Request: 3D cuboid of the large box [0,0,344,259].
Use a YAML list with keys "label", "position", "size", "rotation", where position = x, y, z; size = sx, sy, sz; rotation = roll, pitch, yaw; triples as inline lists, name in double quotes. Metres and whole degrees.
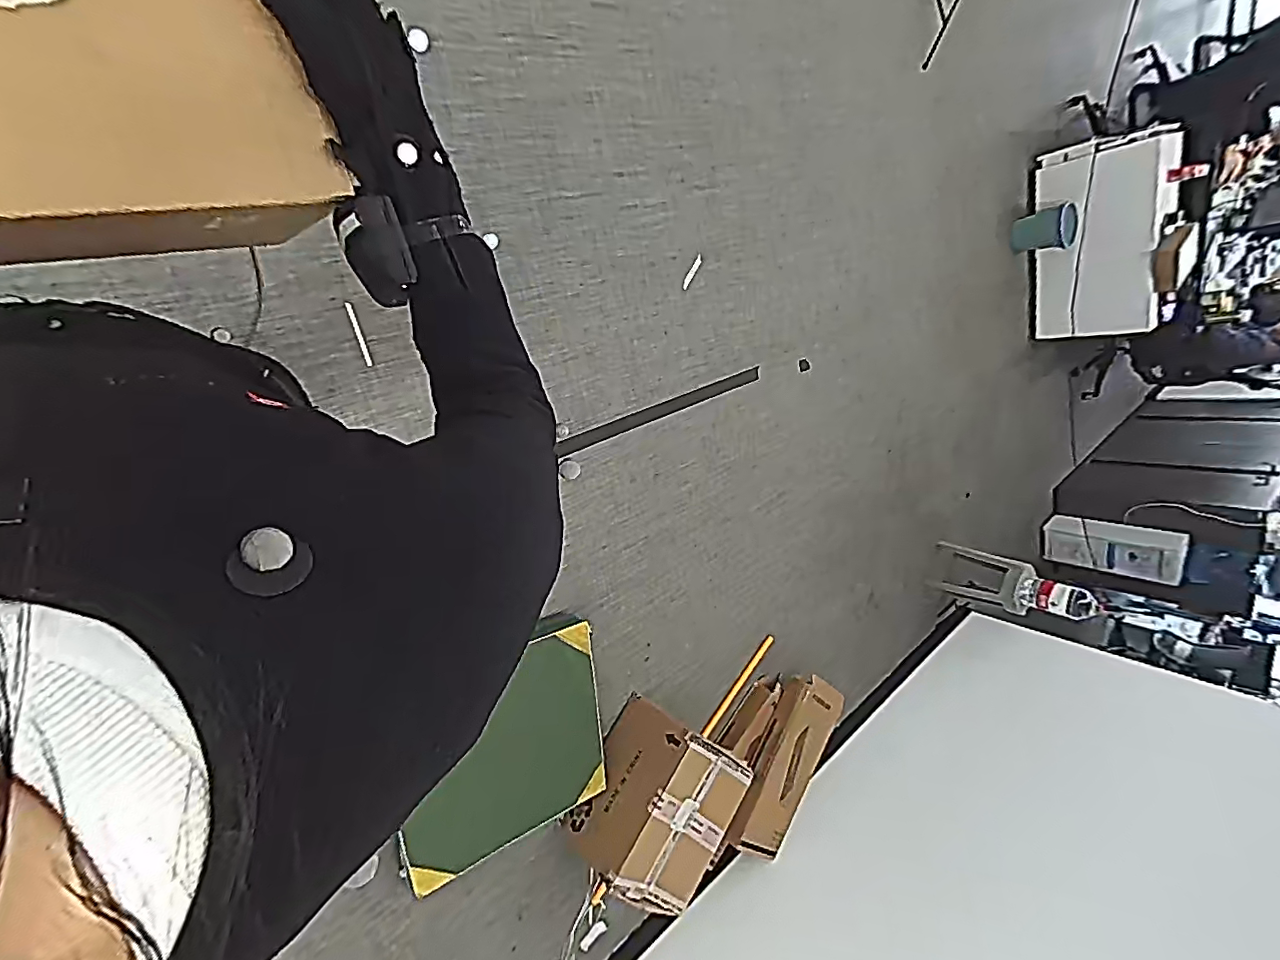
- label: "large box"
  position: [-0.472, -0.306, 0.318]
  size: [0.408, 0.320, 0.320]
  rotation: [-25, 120, -35]
